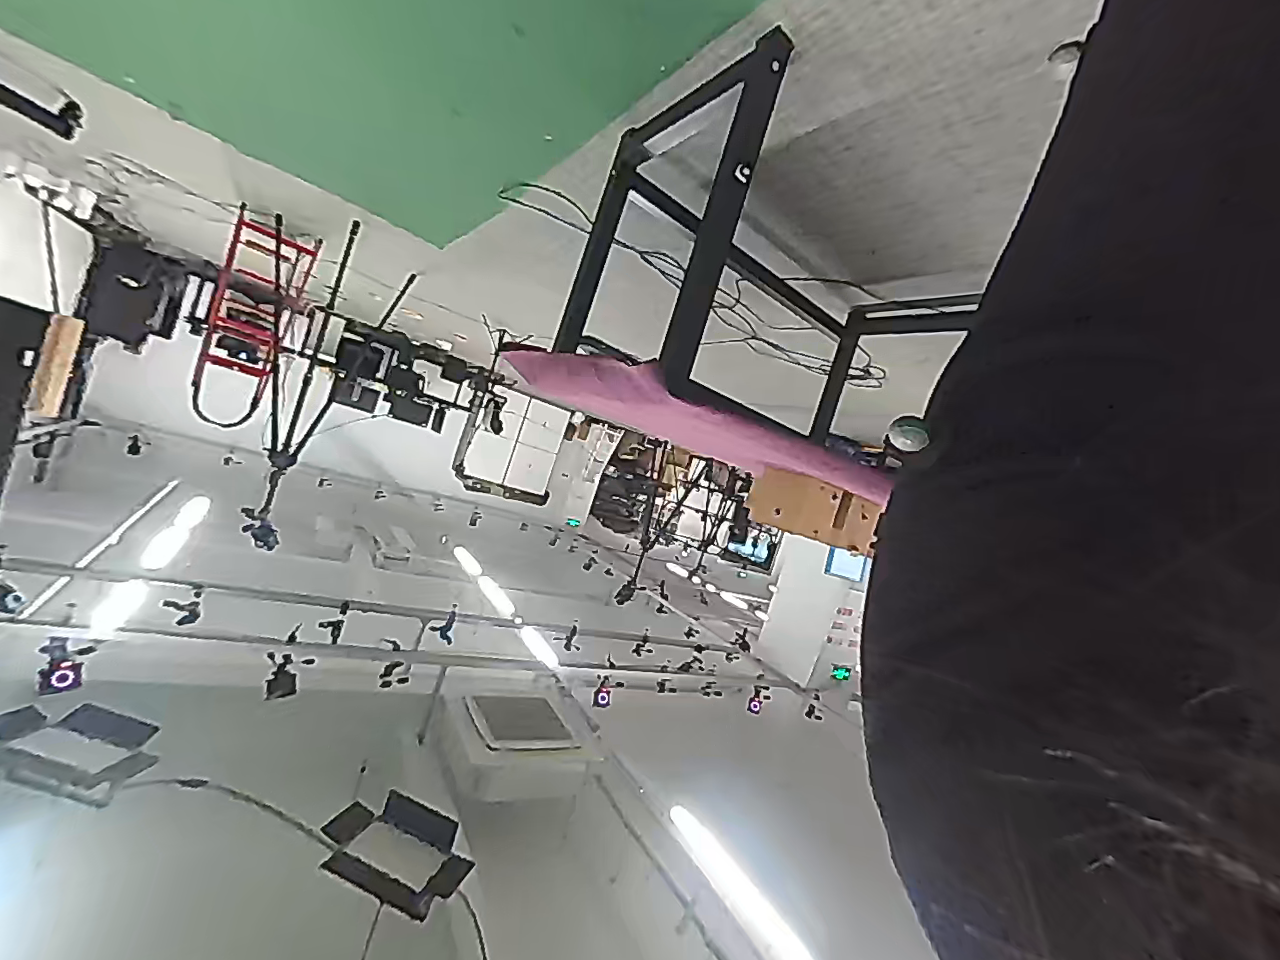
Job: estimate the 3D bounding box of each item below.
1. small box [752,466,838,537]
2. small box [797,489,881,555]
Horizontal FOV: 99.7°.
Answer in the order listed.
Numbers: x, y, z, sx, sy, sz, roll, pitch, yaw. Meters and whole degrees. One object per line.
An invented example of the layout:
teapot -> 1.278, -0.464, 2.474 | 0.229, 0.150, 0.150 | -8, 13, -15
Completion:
small box -> 0.461, 0.060, 1.593 | 0.168, 0.176, 0.179 | 14, -179, -34
small box -> 0.630, 0.120, 1.719 | 0.168, 0.176, 0.179 | 18, 180, -35
